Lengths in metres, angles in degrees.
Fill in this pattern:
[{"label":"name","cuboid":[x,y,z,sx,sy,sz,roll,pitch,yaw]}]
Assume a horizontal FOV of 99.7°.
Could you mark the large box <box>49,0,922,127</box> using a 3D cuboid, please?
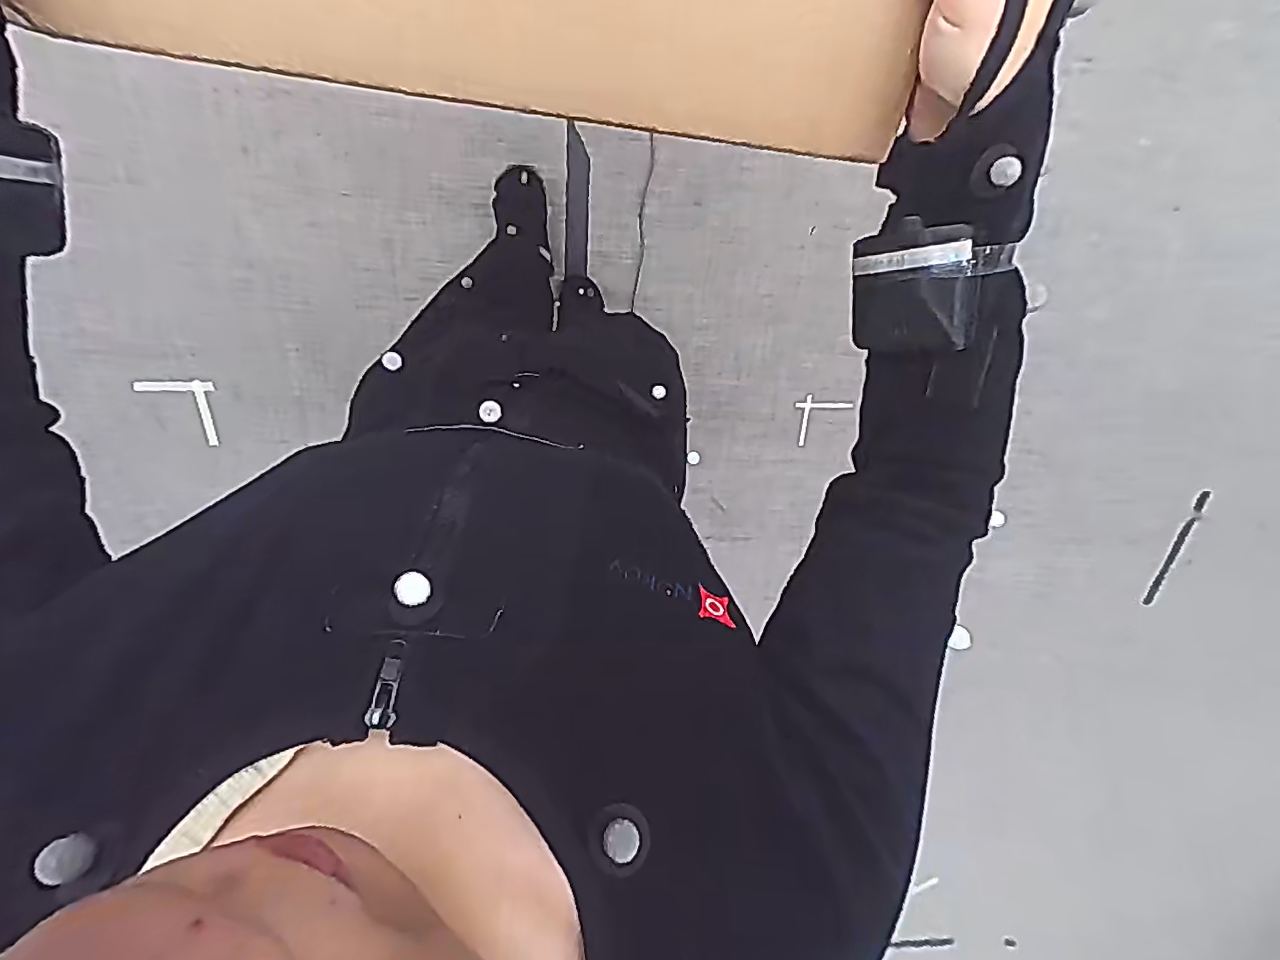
[{"label":"large box","cuboid":[-0.061,-0.408,0.293,0.408,0.320,0.320,4,127,-8]}]
